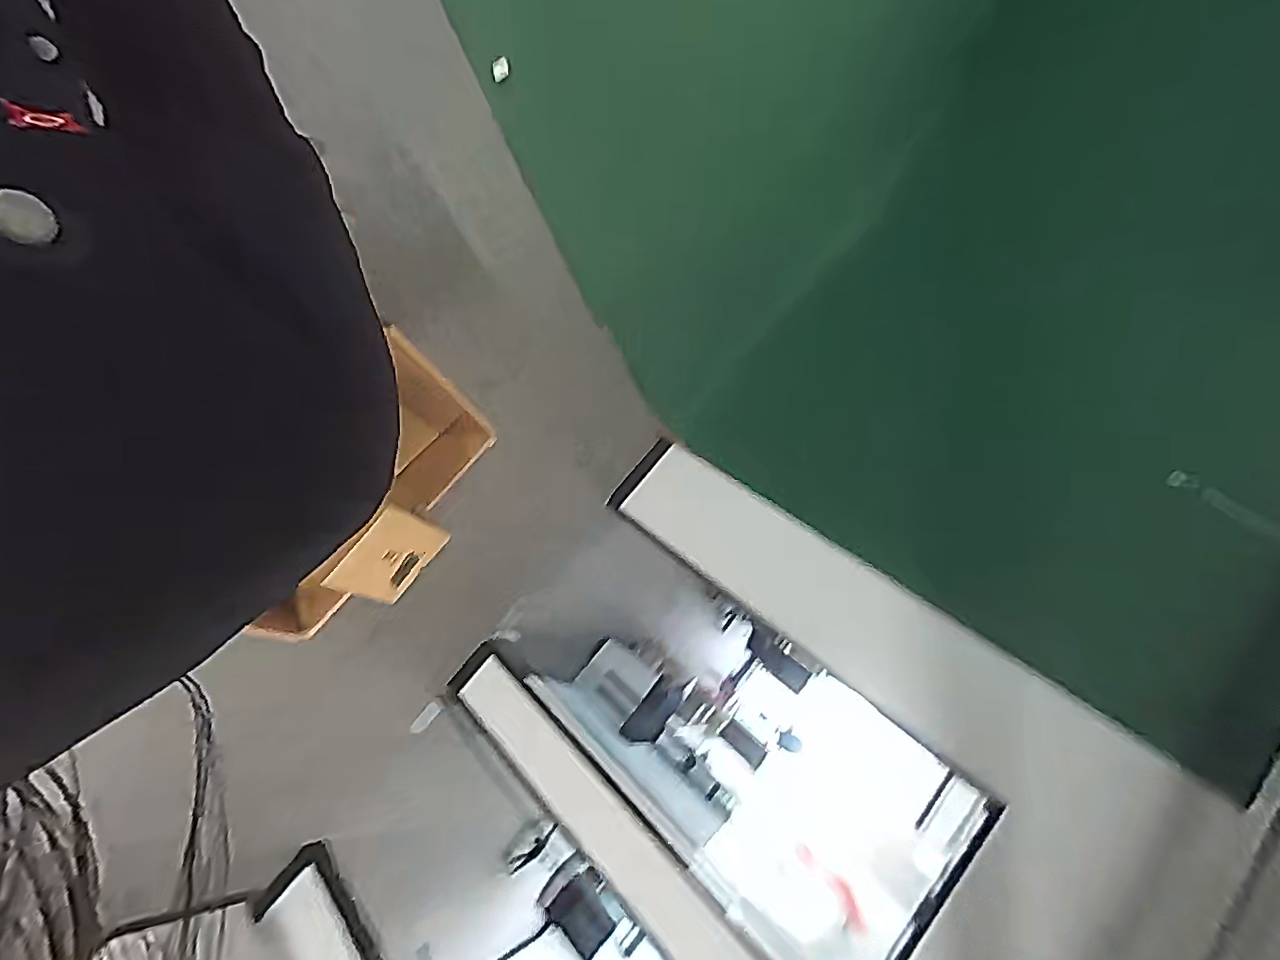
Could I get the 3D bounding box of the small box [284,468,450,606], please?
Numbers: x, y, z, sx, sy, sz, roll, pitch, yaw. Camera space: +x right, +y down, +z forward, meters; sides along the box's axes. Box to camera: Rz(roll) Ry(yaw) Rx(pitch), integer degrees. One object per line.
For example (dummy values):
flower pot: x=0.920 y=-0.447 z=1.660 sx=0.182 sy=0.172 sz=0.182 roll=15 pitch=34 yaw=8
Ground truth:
small box: x=-0.496 y=0.103 z=0.994 sx=0.168 sy=0.176 sz=0.179 roll=-52 pitch=152 yaw=-9
